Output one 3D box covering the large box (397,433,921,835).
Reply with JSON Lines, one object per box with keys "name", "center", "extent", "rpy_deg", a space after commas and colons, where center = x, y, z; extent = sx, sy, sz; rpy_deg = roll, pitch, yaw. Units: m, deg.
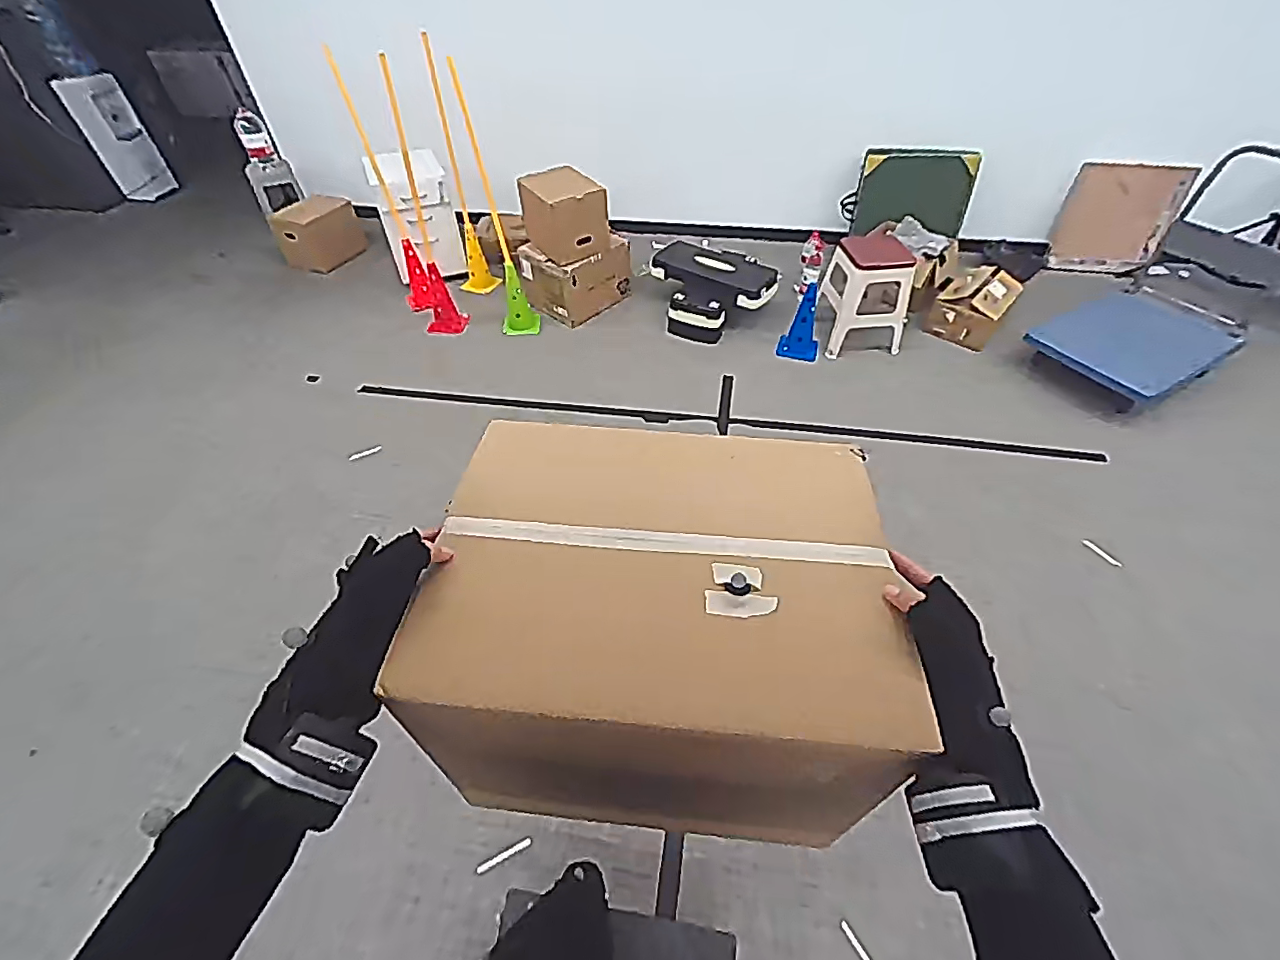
{"name": "large box", "center": [0.019, 0.171, 0.611], "extent": [0.408, 0.320, 0.320], "rpy_deg": [5, 46, 3]}
